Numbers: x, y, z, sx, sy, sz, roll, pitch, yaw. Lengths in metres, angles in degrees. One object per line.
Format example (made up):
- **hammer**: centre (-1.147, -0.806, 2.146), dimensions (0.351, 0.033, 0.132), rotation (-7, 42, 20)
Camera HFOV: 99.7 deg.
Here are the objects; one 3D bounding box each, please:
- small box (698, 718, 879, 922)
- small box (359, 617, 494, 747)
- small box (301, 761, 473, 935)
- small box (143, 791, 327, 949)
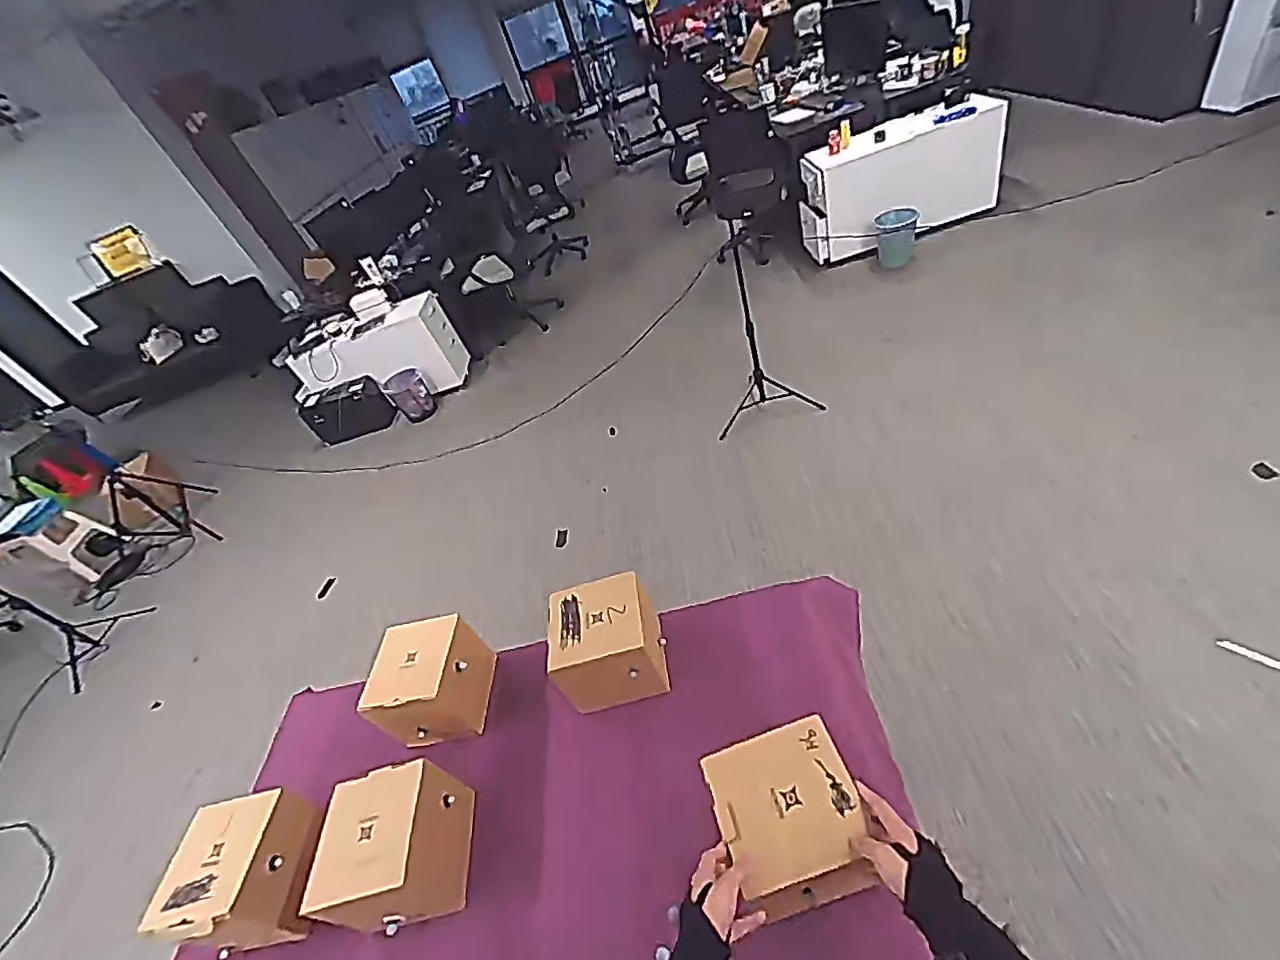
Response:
- **small box**: centre (0.199, 0.457, 0.722), dimensions (0.179, 0.176, 0.168), rotation (-22, 41, 2)
- **small box**: centre (-0.411, 0.403, 1.078), dimensions (0.168, 0.176, 0.179), rotation (-13, 41, 11)
- **small box**: centre (-0.386, 0.589, 0.866), dimensions (0.168, 0.176, 0.179), rotation (-19, 39, 6)
- **small box**: centre (-0.648, 0.660, 0.908), dimensions (0.168, 0.176, 0.179), rotation (-16, 39, 8)
